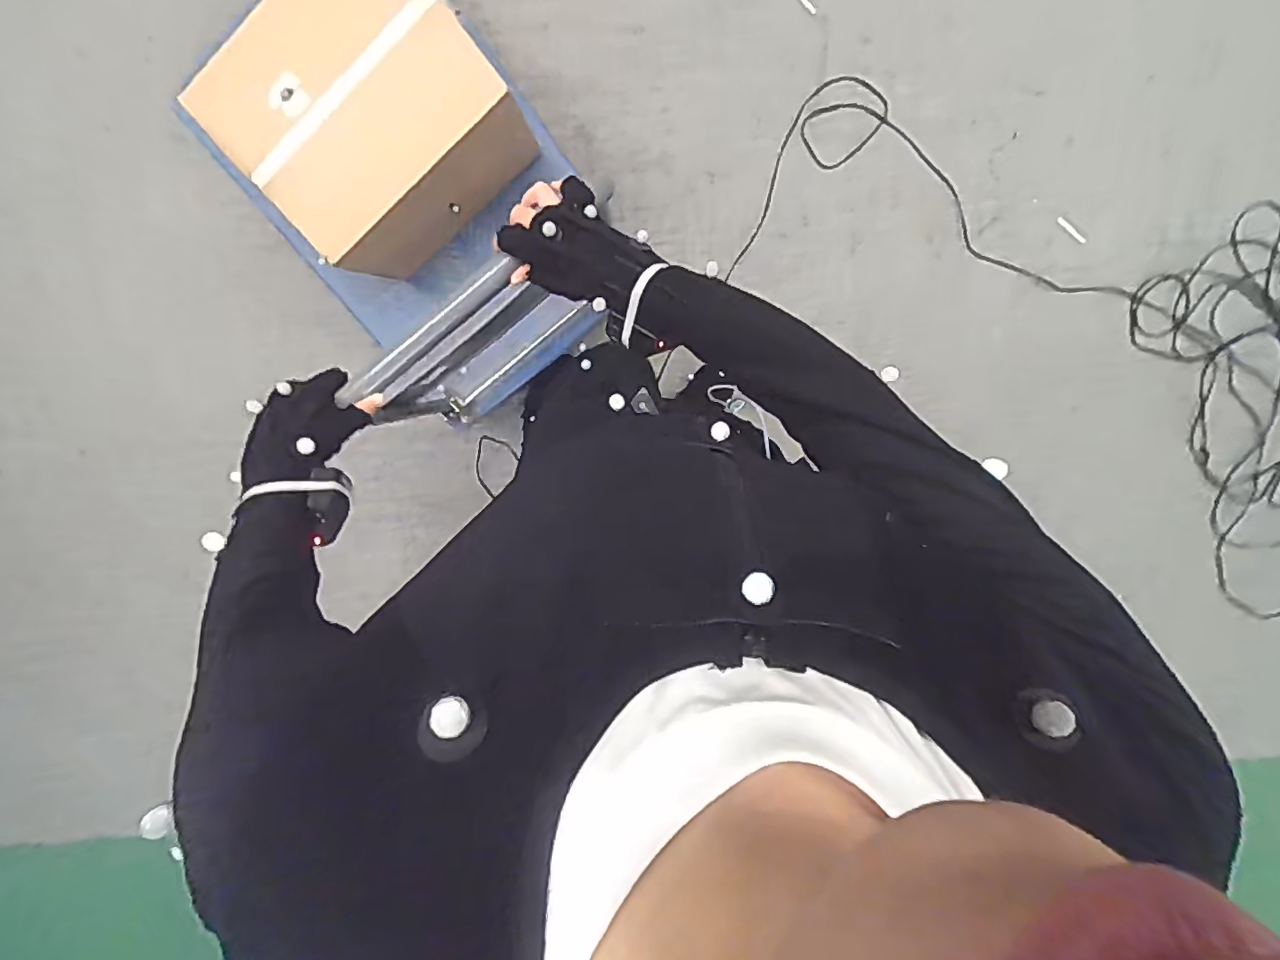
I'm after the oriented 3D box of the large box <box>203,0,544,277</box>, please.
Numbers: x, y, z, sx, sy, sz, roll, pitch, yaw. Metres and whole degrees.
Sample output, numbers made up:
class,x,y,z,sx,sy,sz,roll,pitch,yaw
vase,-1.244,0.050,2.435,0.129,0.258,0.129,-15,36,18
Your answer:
class,x,y,z,sx,sy,sz,roll,pitch,yaw
large box,-0.442,-0.637,0.989,0.408,0.320,0.320,-38,102,10
